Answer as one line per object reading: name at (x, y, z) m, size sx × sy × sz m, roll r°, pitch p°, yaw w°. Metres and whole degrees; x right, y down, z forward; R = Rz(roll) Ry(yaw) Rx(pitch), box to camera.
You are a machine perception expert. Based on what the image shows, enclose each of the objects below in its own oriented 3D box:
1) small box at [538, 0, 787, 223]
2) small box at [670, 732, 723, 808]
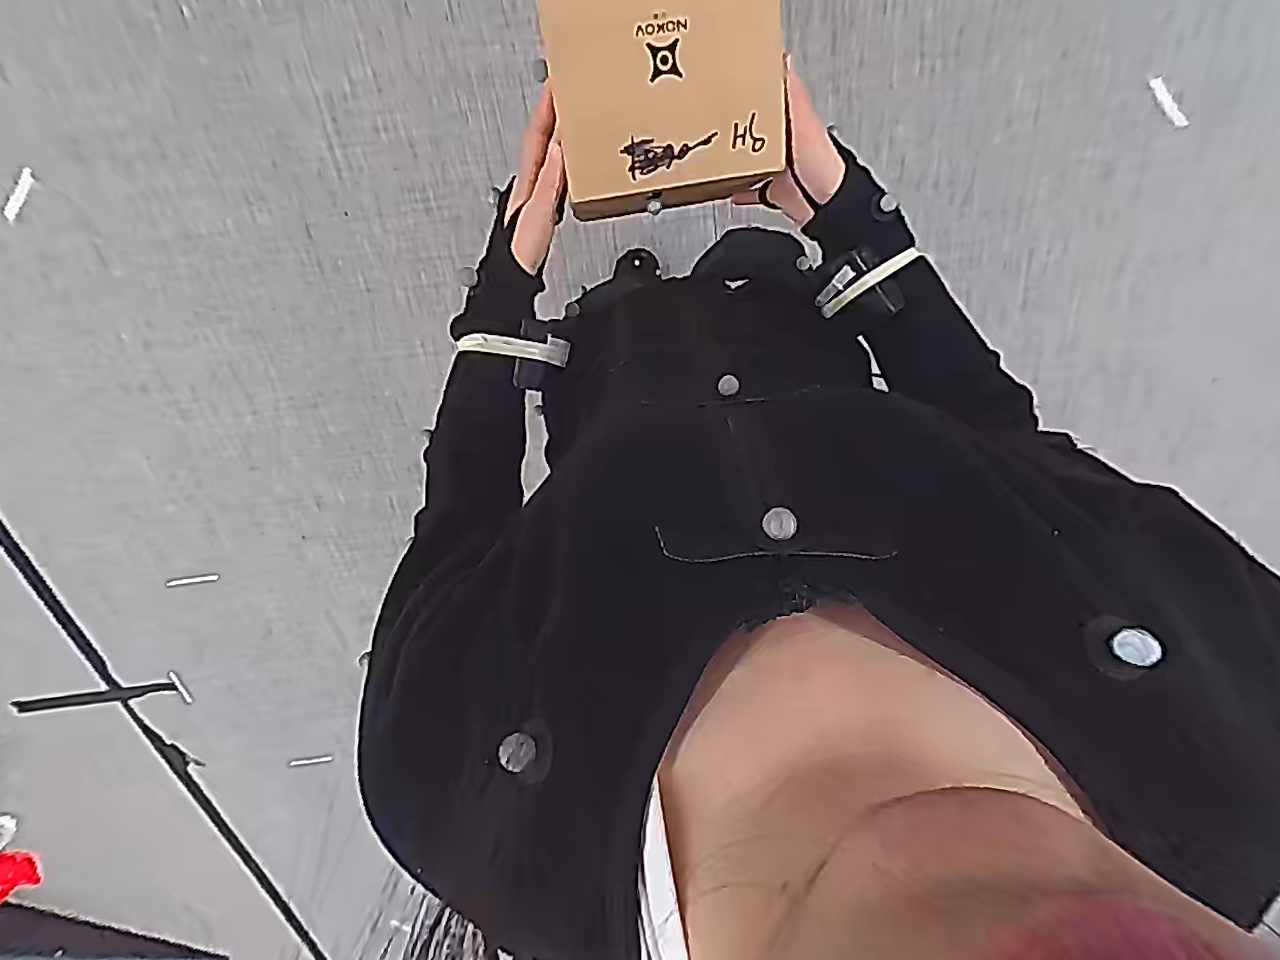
small box at (0.011, -0.325, 0.445) m, size 0.168 × 0.176 × 0.179 m, roll -10°, pitch 111°, yaw -1°
small box at (0.208, 1.070, 1.998) m, size 0.168 × 0.176 × 0.179 m, roll -9°, pitch 114°, yaw -1°
